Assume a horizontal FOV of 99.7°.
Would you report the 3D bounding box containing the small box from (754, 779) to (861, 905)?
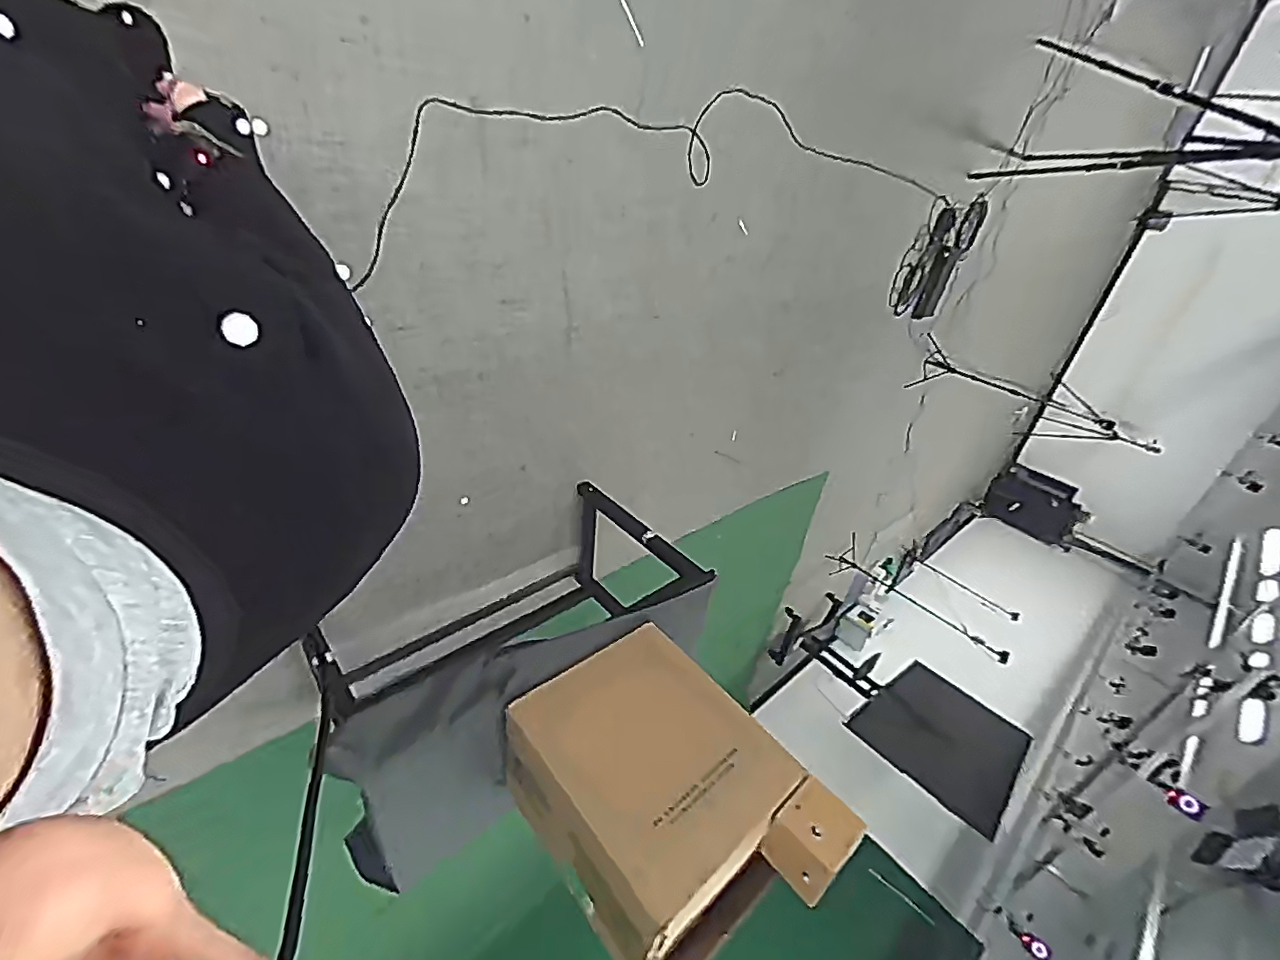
[{"bbox_3d":[0.409,0.887,1.345,0.168,0.176,0.179,-19,133,-38],"label":"small box"}]
